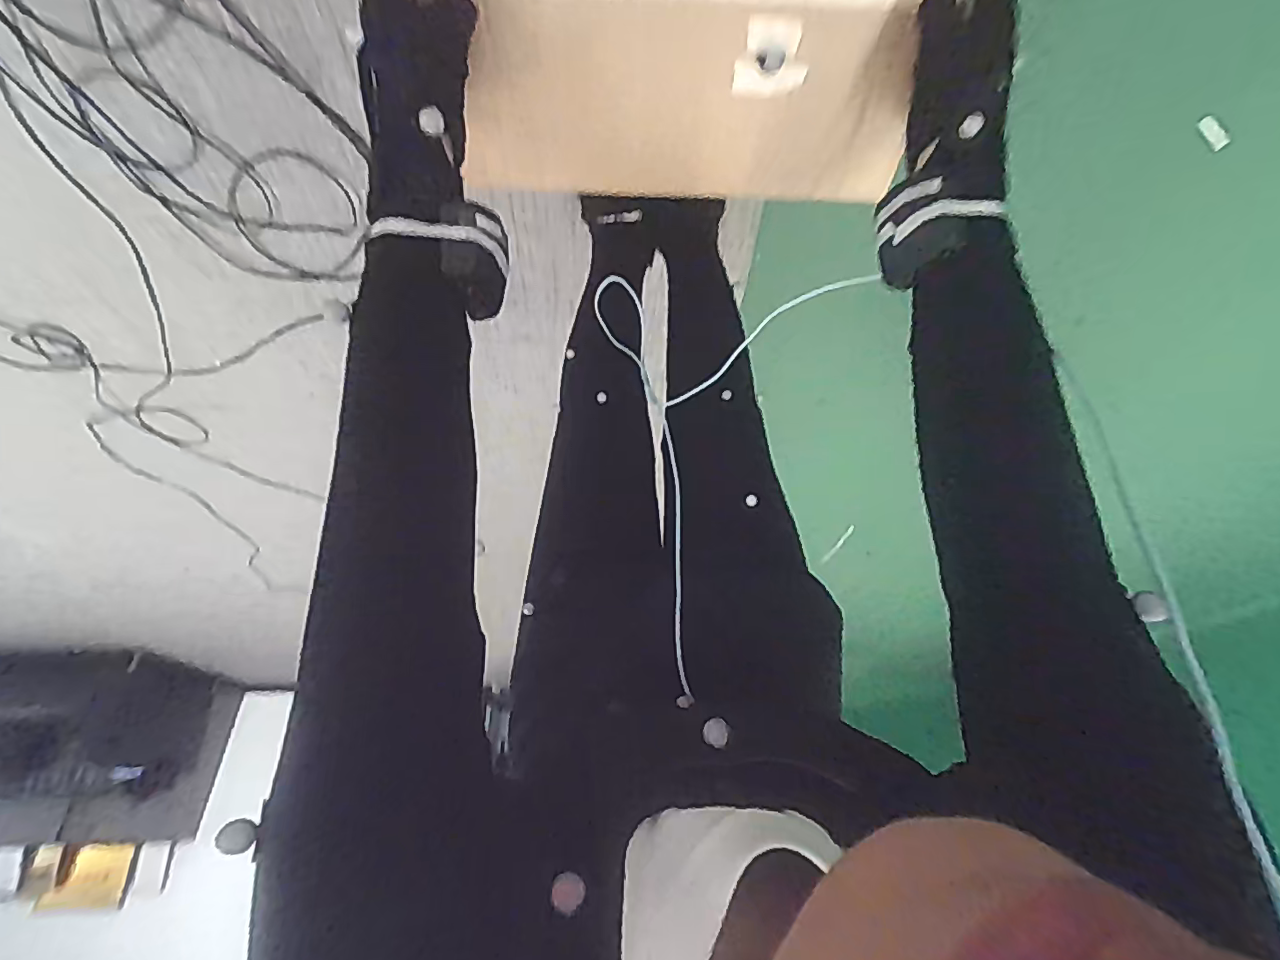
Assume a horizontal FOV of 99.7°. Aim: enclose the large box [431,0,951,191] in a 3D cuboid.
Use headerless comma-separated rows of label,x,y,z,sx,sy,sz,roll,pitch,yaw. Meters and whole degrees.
large box,0.036,-0.489,0.489,0.408,0.320,0.320,0,143,-2
